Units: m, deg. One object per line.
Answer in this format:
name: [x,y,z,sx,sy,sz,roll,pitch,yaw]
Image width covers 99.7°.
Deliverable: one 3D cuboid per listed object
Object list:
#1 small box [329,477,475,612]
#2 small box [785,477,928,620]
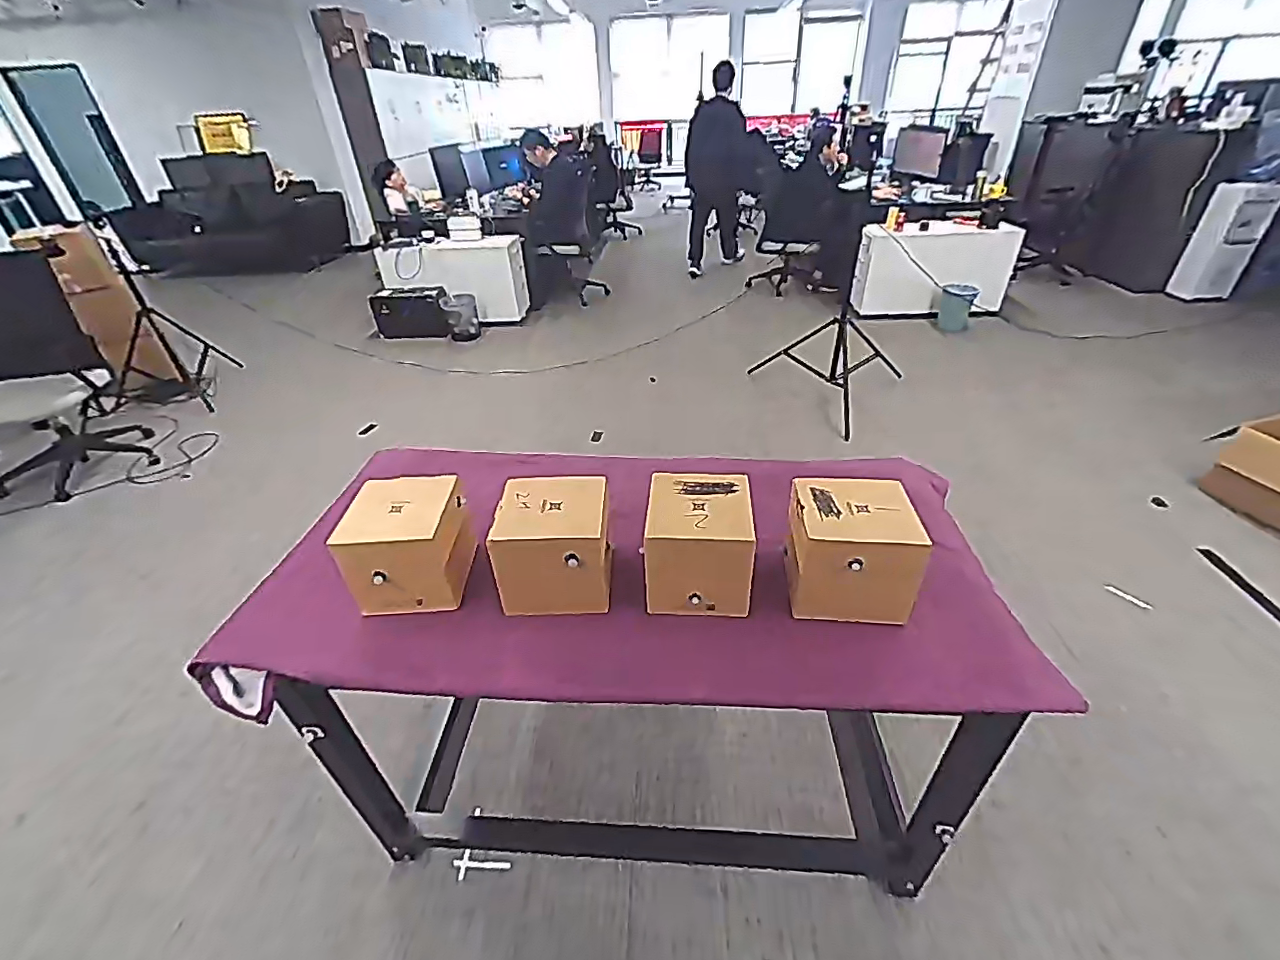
small box: [-0.397,0.115,0.942,0.168,0.176,0.179,-4,34,-1]
small box: [0.338,0.110,0.885,0.179,0.176,0.168,2,34,6]
